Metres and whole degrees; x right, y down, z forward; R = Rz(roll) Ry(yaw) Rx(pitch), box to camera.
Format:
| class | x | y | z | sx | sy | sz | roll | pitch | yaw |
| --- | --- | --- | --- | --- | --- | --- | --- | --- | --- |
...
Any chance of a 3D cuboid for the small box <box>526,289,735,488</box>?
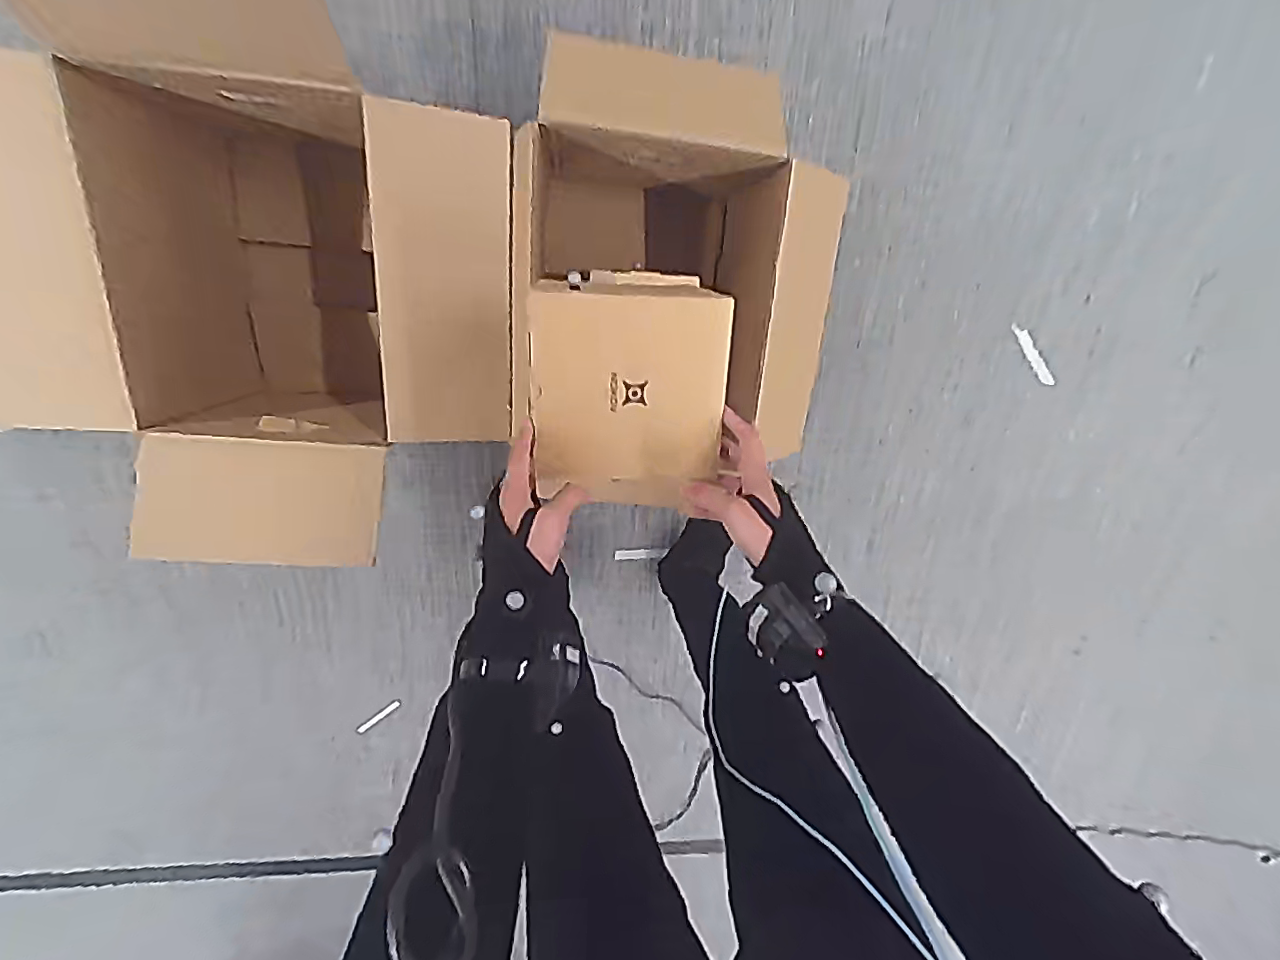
| class | x | y | z | sx | sy | sz | roll | pitch | yaw |
| --- | --- | --- | --- | --- | --- | --- | --- | --- | --- |
| small box | -0.017 | -0.100 | 0.545 | 0.179 | 0.176 | 0.168 | -1 | 113 | -5 |
